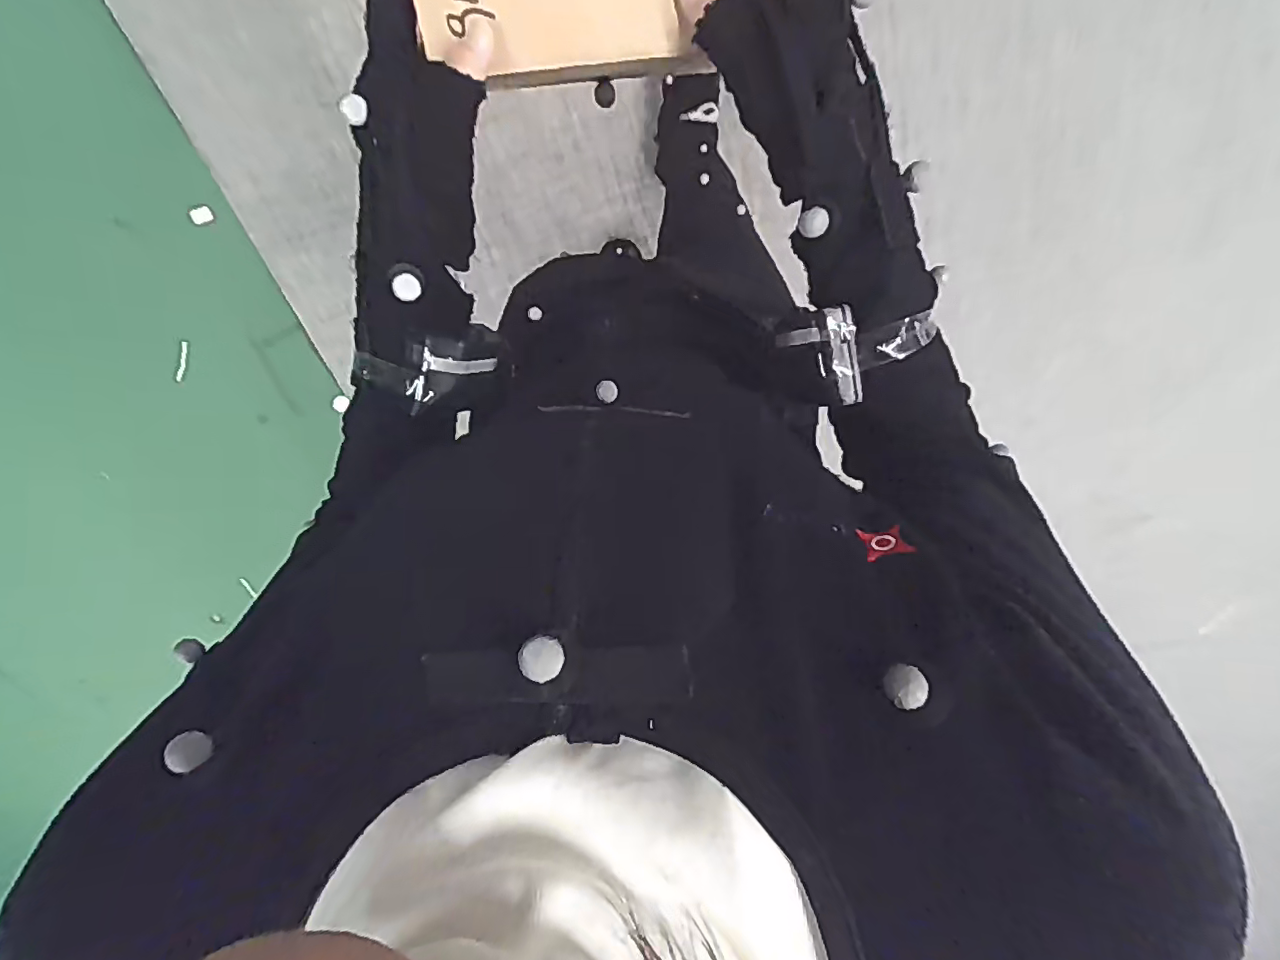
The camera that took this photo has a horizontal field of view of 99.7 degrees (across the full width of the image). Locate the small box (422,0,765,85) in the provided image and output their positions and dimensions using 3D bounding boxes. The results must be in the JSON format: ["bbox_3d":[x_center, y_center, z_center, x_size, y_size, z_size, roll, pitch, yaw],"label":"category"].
[{"bbox_3d":[-0.031,-0.335,0.306,0.179,0.176,0.168,-5,123,0],"label":"small box"}]
